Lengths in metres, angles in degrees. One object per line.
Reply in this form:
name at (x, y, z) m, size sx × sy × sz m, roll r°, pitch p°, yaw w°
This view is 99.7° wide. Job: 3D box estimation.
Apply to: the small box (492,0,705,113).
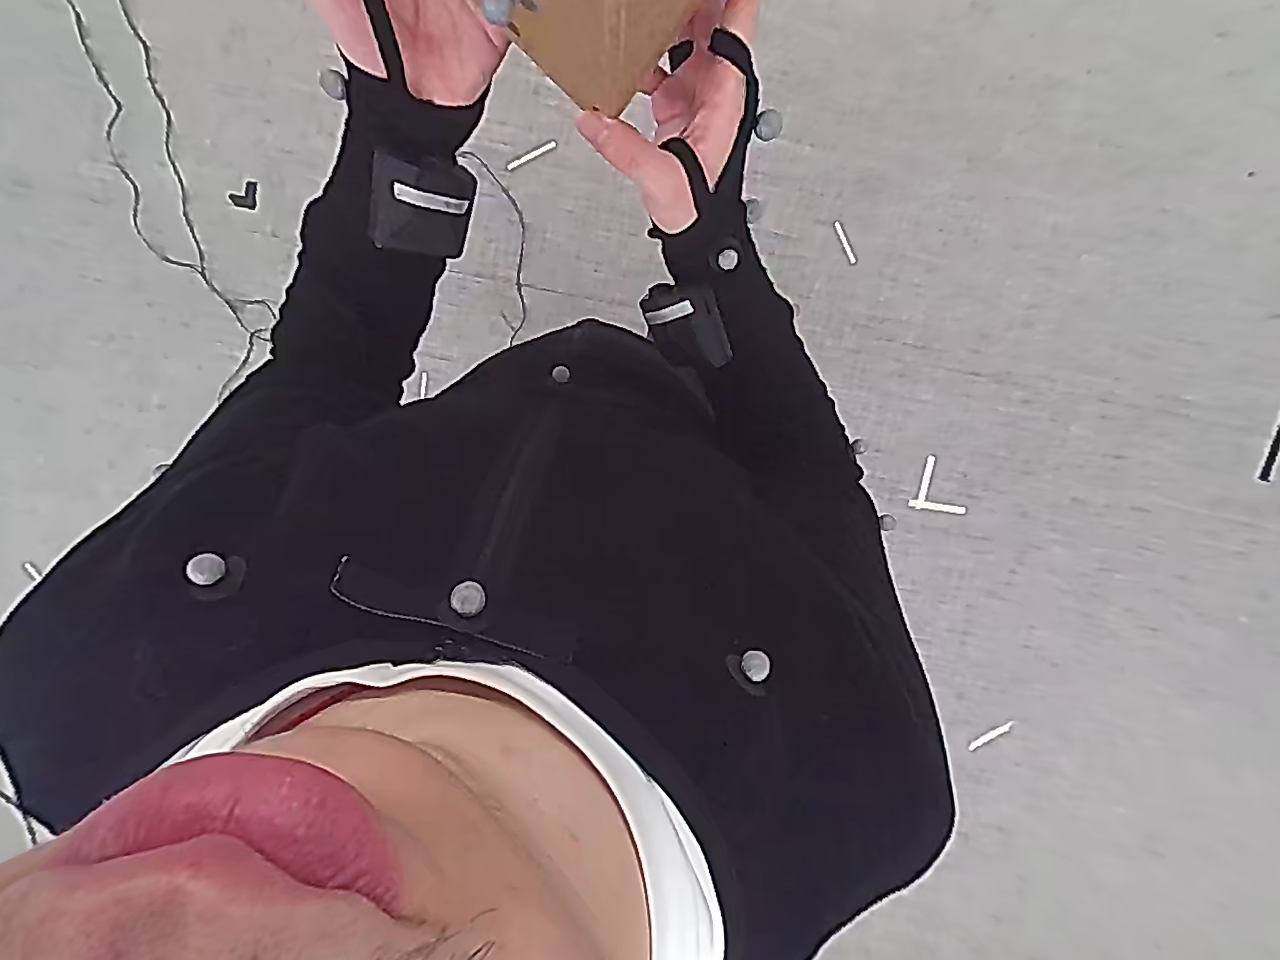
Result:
small box at (-0.016, -0.277, 0.187) m, size 0.168 × 0.176 × 0.179 m, roll 37°, pitch 103°, yaw -17°
